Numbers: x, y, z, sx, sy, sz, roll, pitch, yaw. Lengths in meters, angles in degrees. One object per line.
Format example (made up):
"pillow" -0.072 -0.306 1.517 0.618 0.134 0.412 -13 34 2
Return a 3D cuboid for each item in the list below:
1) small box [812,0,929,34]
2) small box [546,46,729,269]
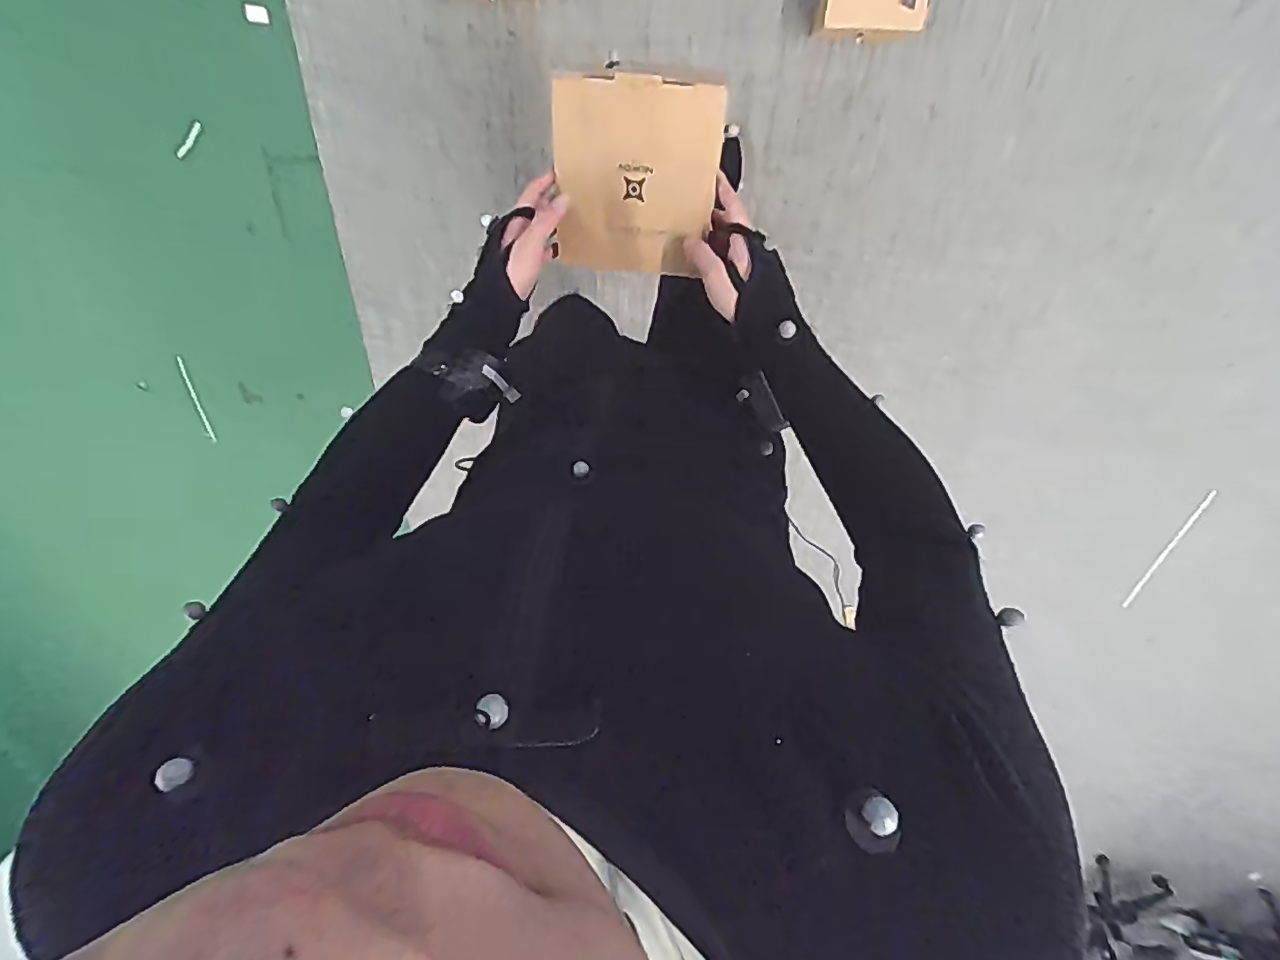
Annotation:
"small box" 0.423 -0.918 0.971 0.179 0.176 0.168 6 125 5
"small box" 0.001 -0.356 0.591 0.168 0.176 0.179 8 132 4
